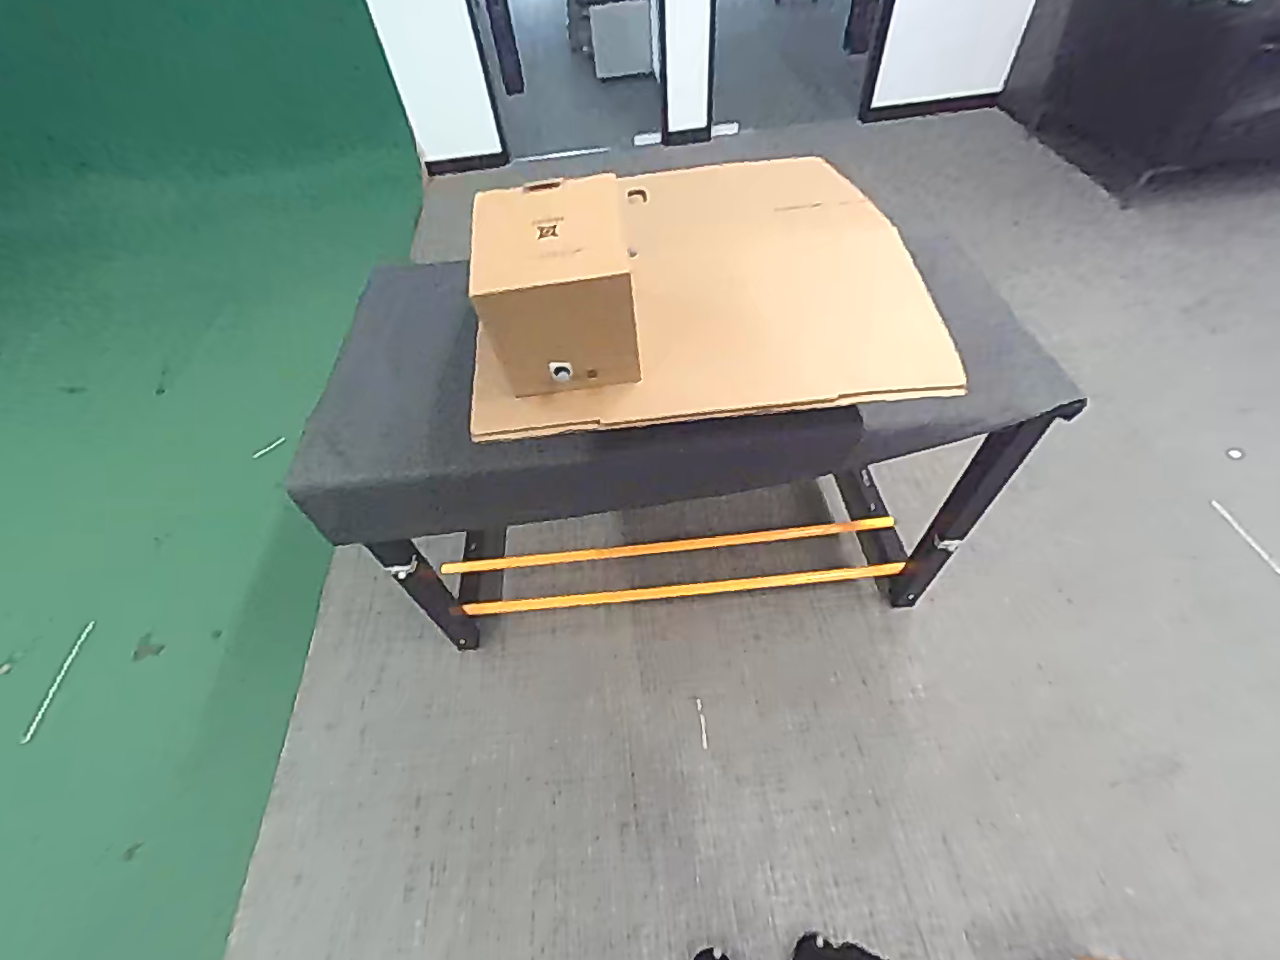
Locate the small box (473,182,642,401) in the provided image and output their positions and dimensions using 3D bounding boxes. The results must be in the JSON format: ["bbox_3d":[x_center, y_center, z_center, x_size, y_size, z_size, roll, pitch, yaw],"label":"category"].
[{"bbox_3d":[-0.093,-0.222,0.656,0.168,0.176,0.179,-9,60,0],"label":"small box"}]
